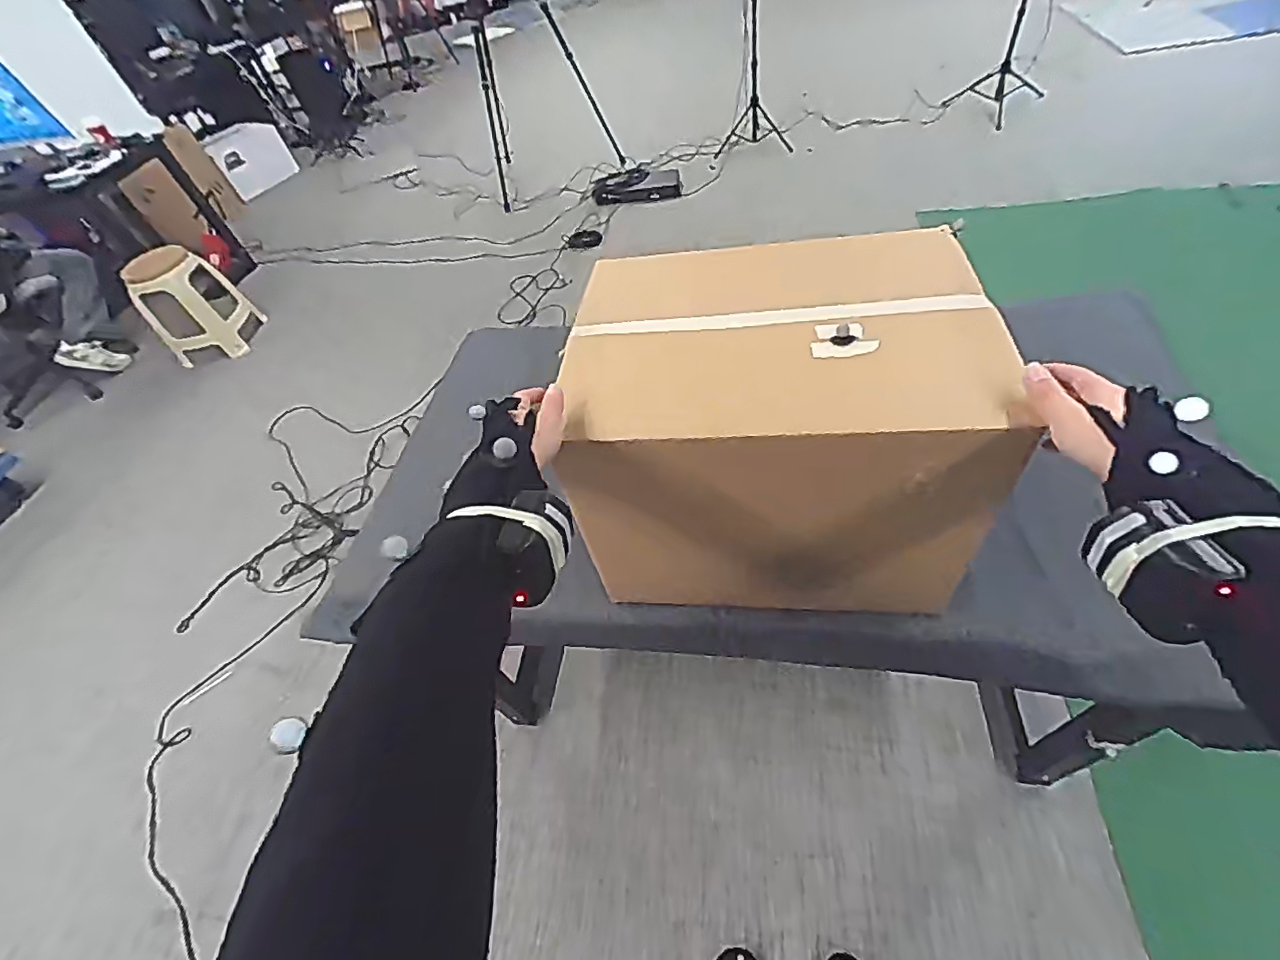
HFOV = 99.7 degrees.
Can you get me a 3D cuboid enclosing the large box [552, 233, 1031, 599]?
[{"bbox_3d":[0.148,-0.063,0.661,0.408,0.320,0.320,-1,51,11],"label":"large box"}]
